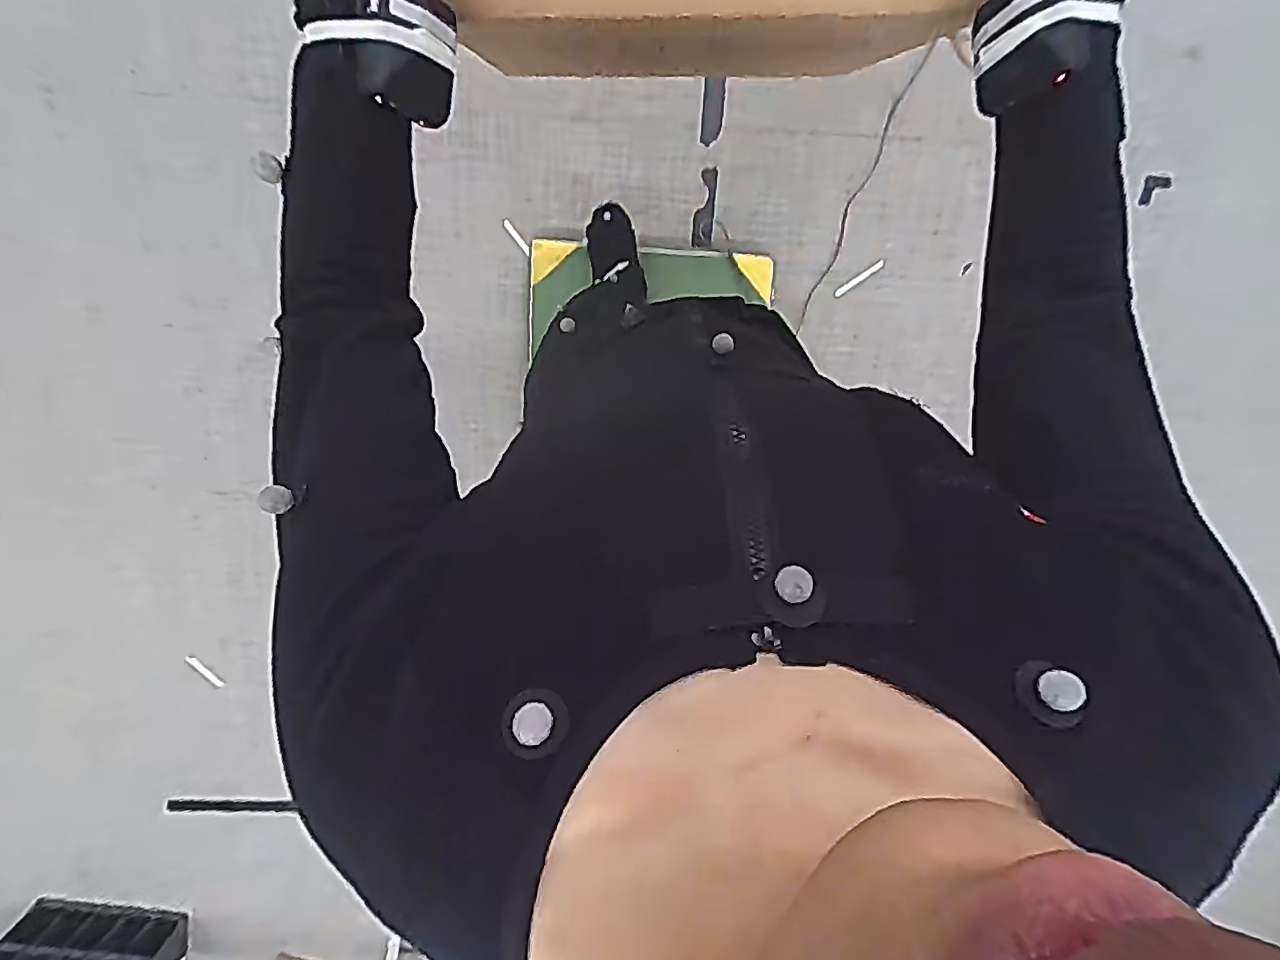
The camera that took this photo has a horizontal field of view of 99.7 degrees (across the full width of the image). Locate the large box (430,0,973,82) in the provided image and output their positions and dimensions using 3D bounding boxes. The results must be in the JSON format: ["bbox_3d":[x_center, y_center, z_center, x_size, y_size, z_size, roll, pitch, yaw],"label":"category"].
[{"bbox_3d":[0.038,-0.538,0.435,0.408,0.320,0.320,-2,120,-2],"label":"large box"}]
